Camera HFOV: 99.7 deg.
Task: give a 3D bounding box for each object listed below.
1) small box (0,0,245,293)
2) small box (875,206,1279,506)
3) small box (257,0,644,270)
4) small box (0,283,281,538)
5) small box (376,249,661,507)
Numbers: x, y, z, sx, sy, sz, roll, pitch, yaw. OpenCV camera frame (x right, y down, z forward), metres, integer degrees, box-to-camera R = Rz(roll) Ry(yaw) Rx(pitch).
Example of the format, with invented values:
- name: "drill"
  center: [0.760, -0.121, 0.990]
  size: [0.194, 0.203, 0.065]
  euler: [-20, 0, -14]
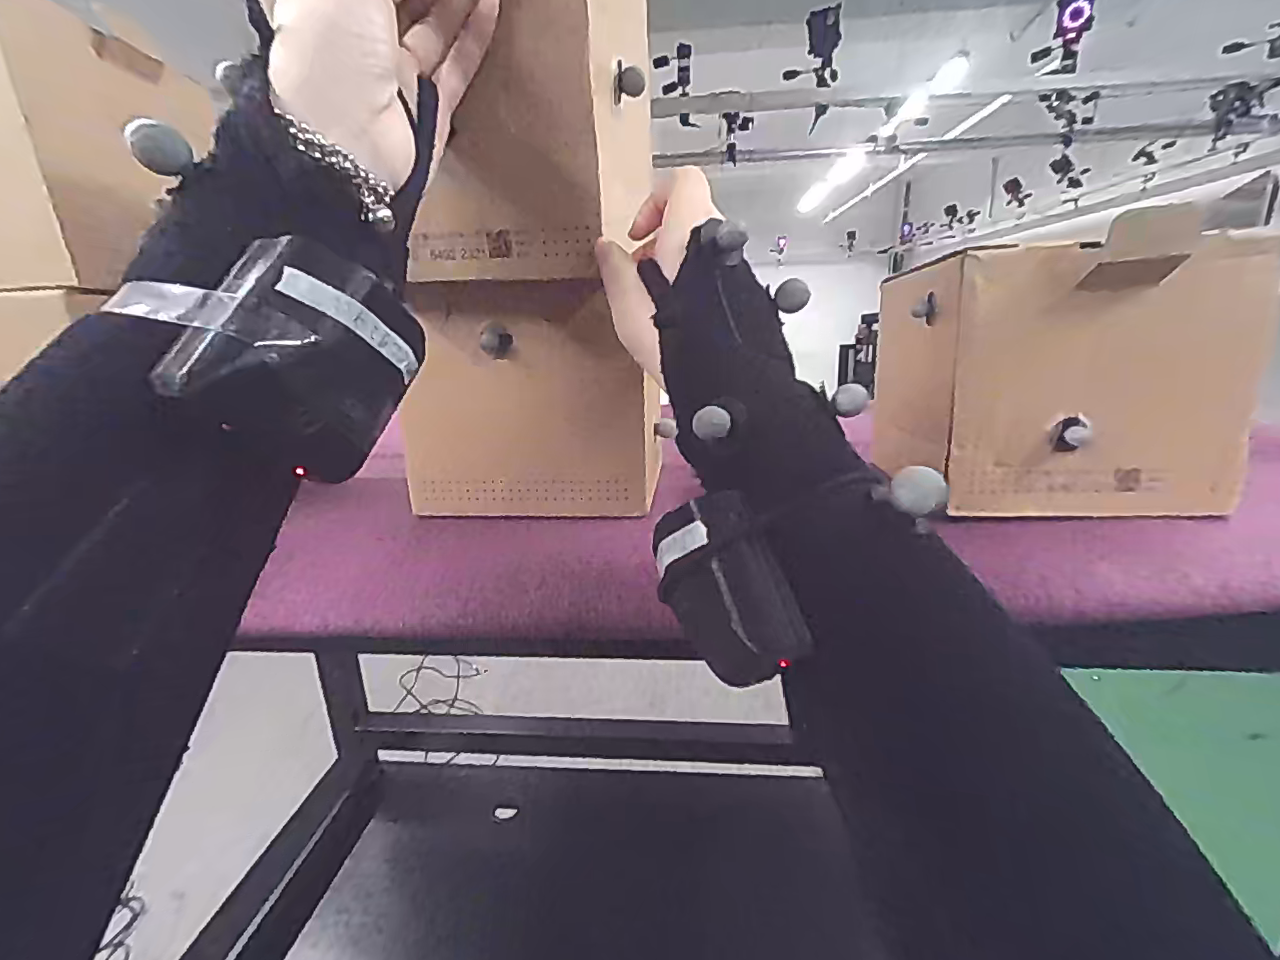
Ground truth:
- name: "small box"
  center: [-0.440, -0.220, 0.390]
  size: [0.179, 0.176, 0.168]
  euler: [-3, 17, 1]
- name: "small box"
  center: [0.282, -0.085, 0.397]
  size: [0.168, 0.176, 0.179]
  euler: [-2, 14, 8]
- name: "small box"
  center: [-0.091, -0.232, 0.345]
  size: [0.168, 0.176, 0.179]
  euler: [2, 29, 9]
- name: "small box"
  center: [-0.427, -0.061, 0.434]
  size: [0.168, 0.176, 0.179]
  euler: [-3, 17, 2]
- name: "small box"
  center: [-0.076, -0.079, 0.437]
  size: [0.179, 0.176, 0.168]
  euler: [0, 15, 6]
